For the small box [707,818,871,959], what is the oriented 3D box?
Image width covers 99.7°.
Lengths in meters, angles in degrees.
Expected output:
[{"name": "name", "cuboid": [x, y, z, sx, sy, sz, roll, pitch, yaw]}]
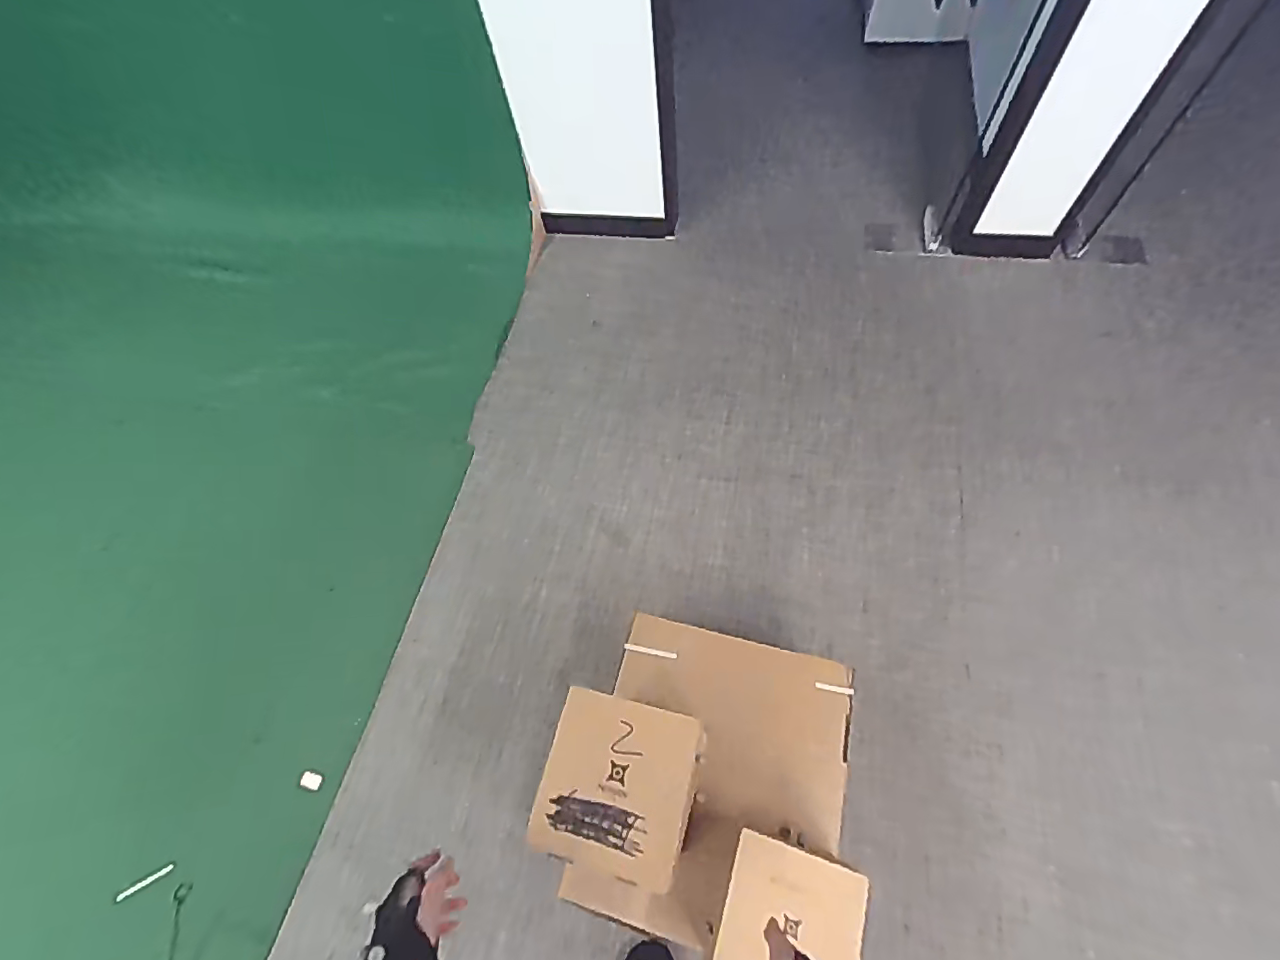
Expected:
[{"name": "small box", "cuboid": [0.191, 0.584, 0.728, 0.168, 0.176, 0.179, 16, 64, 12]}]

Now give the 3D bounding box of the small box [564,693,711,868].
[{"name": "small box", "cuboid": [0.005, 0.449, 0.822, 0.168, 0.176, 0.179, 14, 63, 14]}]
